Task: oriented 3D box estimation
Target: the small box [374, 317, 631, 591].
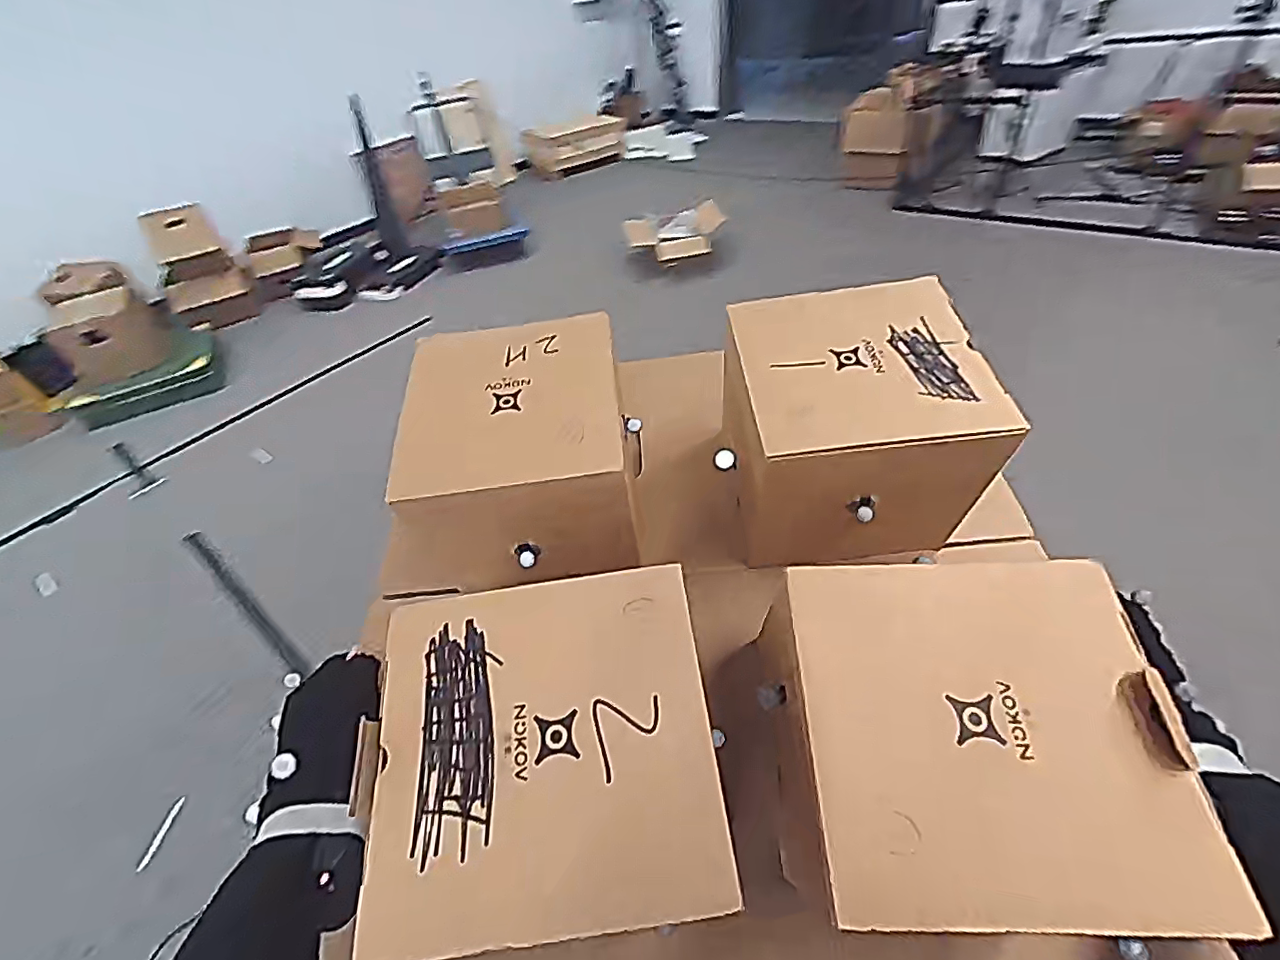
[{"bbox_3d":[-0.102,-0.013,0.479,0.168,0.176,0.179,-7,54,1],"label":"small box"}]
